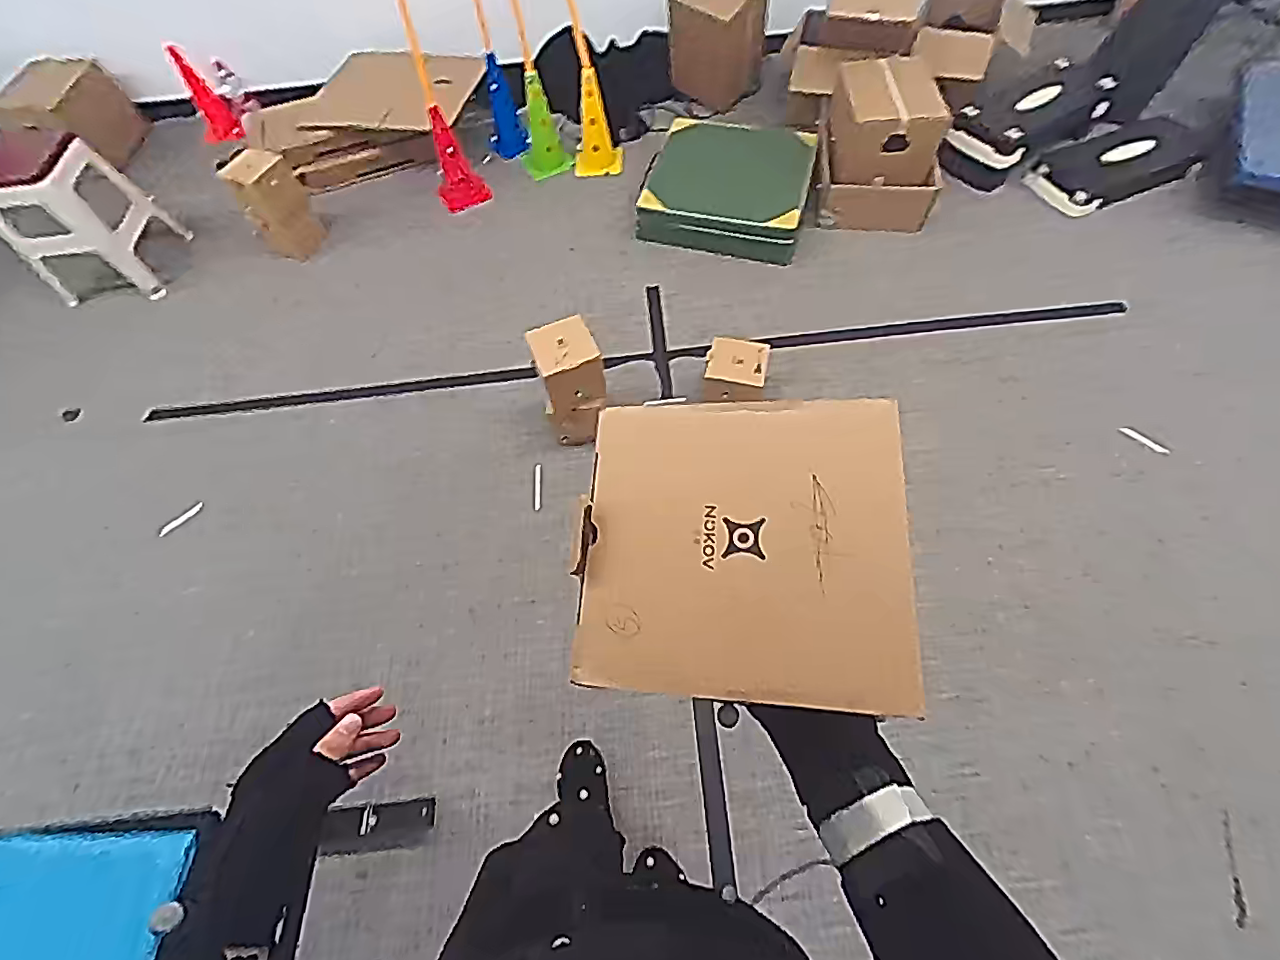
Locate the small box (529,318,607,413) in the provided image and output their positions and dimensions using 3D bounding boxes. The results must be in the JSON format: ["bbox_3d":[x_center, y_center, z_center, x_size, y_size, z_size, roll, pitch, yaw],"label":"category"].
[{"bbox_3d":[-0.201,-0.320,1.533,0.168,0.176,0.179,-19,64,-5],"label":"small box"}]

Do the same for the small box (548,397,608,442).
[{"bbox_3d":[-0.186,-0.231,1.671,0.168,0.176,0.179,-7,60,0],"label":"small box"}]

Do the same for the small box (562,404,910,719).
[{"bbox_3d":[0.068,0.060,0.368,0.179,0.176,0.168,1,70,14],"label":"small box"}]

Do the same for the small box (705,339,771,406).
[{"bbox_3d":[0.301,-0.314,1.688,0.179,0.176,0.168,9,62,7],"label":"small box"}]
